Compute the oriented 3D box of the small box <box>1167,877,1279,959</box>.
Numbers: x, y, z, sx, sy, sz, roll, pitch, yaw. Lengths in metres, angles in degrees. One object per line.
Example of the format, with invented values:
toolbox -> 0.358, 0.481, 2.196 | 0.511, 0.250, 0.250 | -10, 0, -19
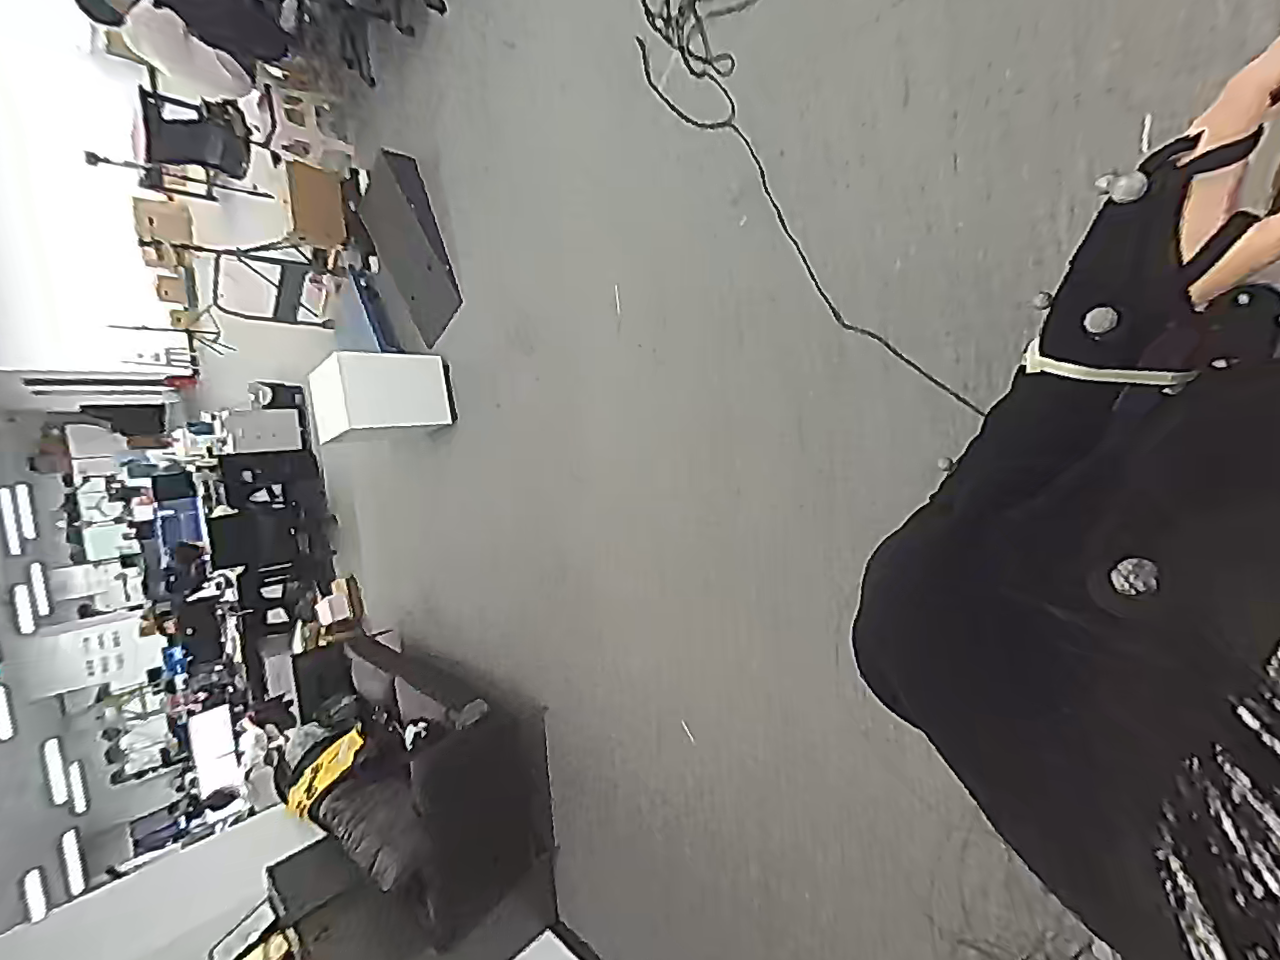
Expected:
small box -> 1.168, 0.956, 1.076 | 0.168, 0.176, 0.179 | 2, 97, 44
